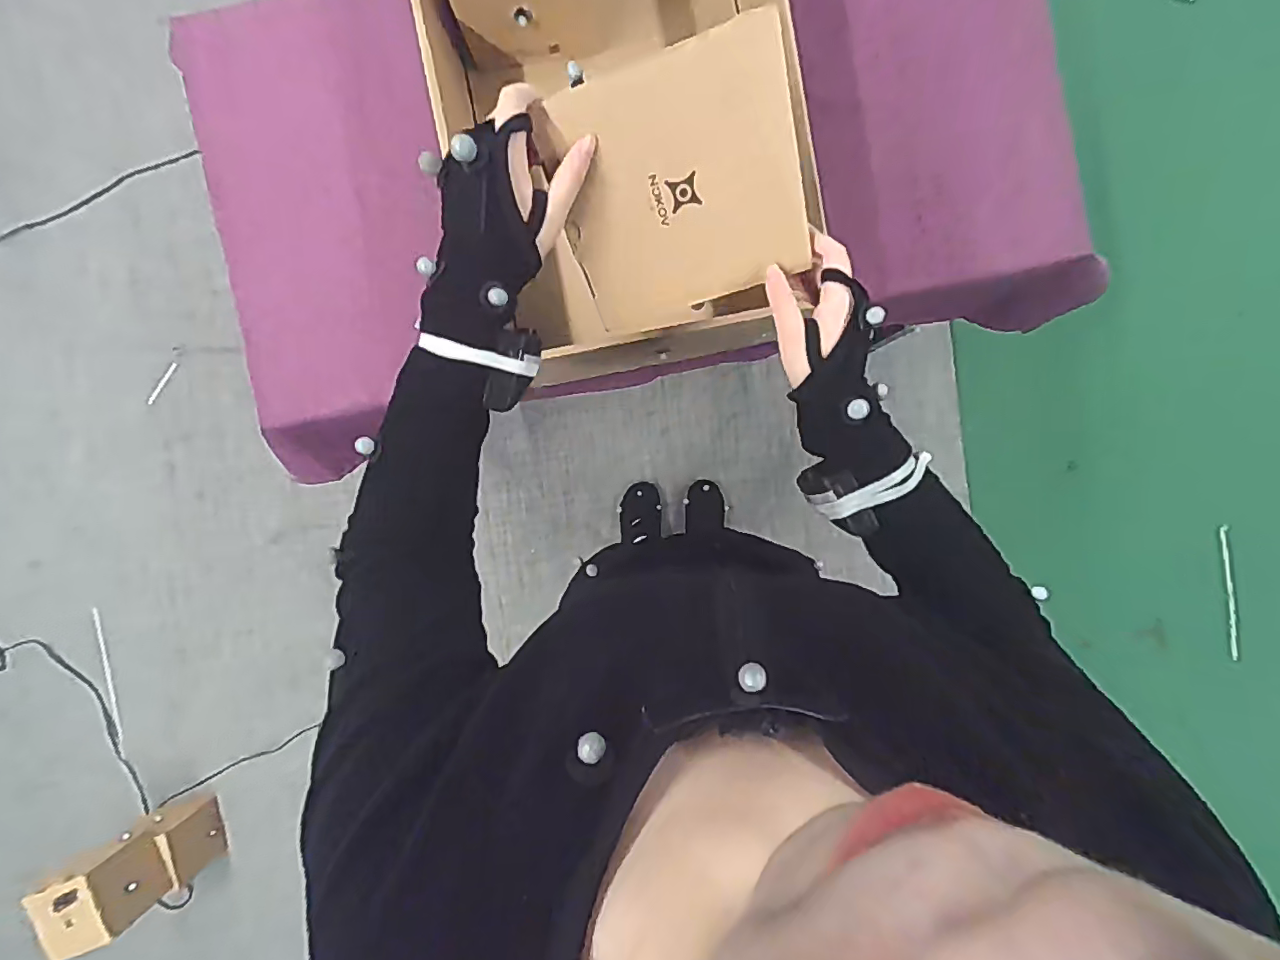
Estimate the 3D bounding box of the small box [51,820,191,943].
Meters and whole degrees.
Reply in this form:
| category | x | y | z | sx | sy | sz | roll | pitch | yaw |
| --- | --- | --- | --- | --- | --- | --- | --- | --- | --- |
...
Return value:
| category | x | y | z | sx | sy | sz | roll | pitch | yaw |
| --- | --- | --- | --- | --- | --- | --- | --- | --- | --- |
| small box | -1.322 | 1.016 | 1.389 | 0.168 | 0.176 | 0.179 | -21 | 92 | 4 |

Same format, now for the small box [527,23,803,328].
| category | x | y | z | sx | sy | sz | roll | pitch | yaw |
| --- | --- | --- | --- | --- | --- | --- | --- | --- | --- |
| small box | 0.029 | -0.261 | 0.470 | 0.179 | 0.176 | 0.168 | -13 | 125 | 14 |
